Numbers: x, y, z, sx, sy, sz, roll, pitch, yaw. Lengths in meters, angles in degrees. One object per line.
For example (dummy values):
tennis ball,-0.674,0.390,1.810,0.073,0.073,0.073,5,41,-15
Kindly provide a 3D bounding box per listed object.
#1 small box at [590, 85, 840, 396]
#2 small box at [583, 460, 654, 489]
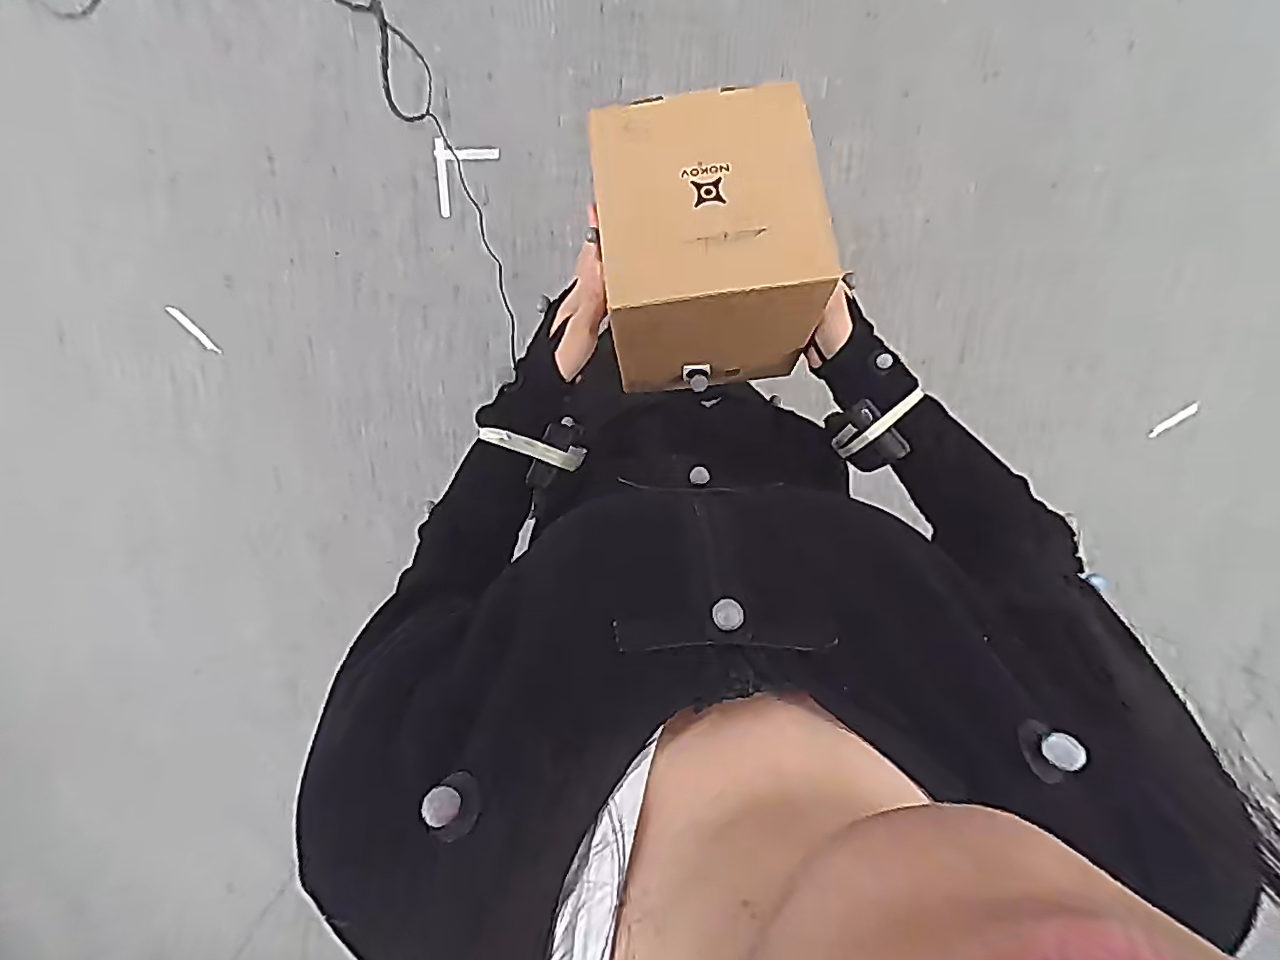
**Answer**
small box,0.054,-0.194,0.477,0.168,0.176,0.179,-8,77,2
small box,-0.059,0.049,1.451,0.179,0.176,0.168,7,105,-1
